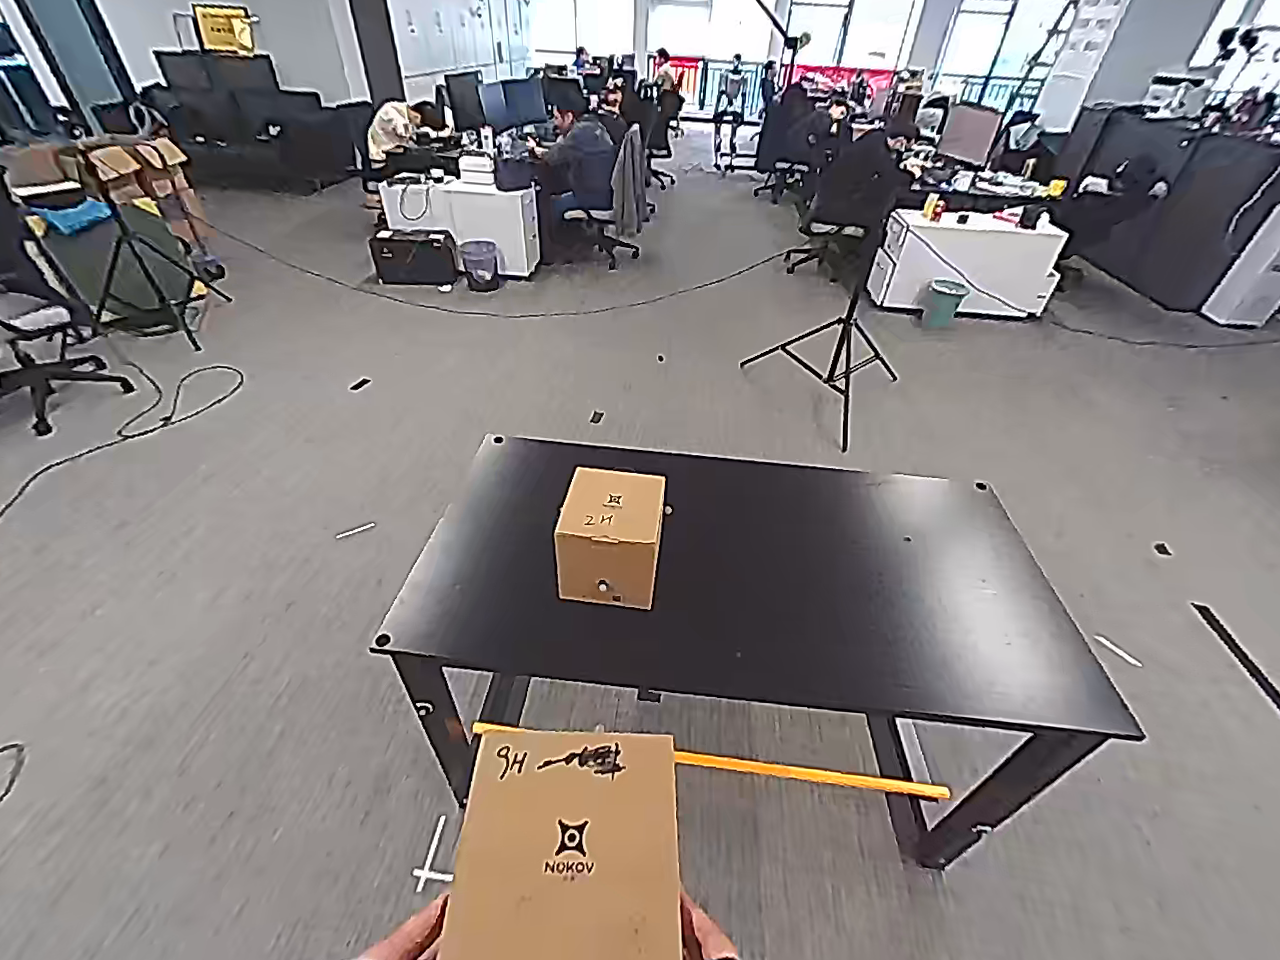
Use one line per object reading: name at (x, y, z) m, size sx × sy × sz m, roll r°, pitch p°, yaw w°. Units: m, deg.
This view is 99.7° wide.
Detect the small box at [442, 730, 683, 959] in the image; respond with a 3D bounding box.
small box at (-0.056, 0.335, 0.461) m, size 0.168 × 0.176 × 0.179 m, roll 3°, pitch 45°, yaw -3°

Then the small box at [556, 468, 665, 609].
small box at (-0.049, 0.104, 0.975) m, size 0.168 × 0.176 × 0.179 m, roll 6°, pitch 40°, yaw 4°
